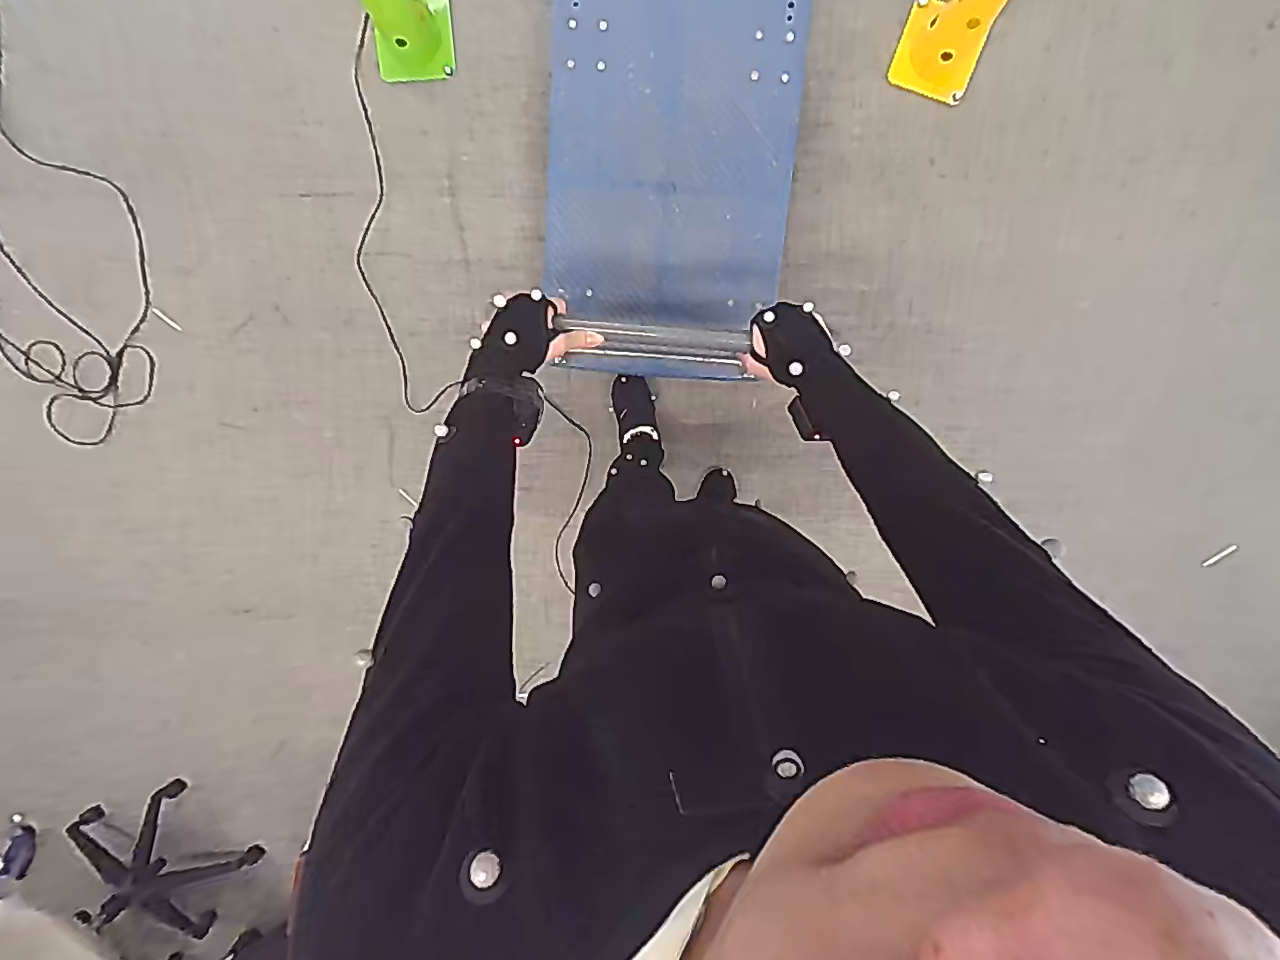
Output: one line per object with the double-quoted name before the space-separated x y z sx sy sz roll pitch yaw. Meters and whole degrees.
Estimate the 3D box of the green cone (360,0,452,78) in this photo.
"green cone" -0.594 -1.104 1.202 0.202 0.368 0.200 -2 102 4
